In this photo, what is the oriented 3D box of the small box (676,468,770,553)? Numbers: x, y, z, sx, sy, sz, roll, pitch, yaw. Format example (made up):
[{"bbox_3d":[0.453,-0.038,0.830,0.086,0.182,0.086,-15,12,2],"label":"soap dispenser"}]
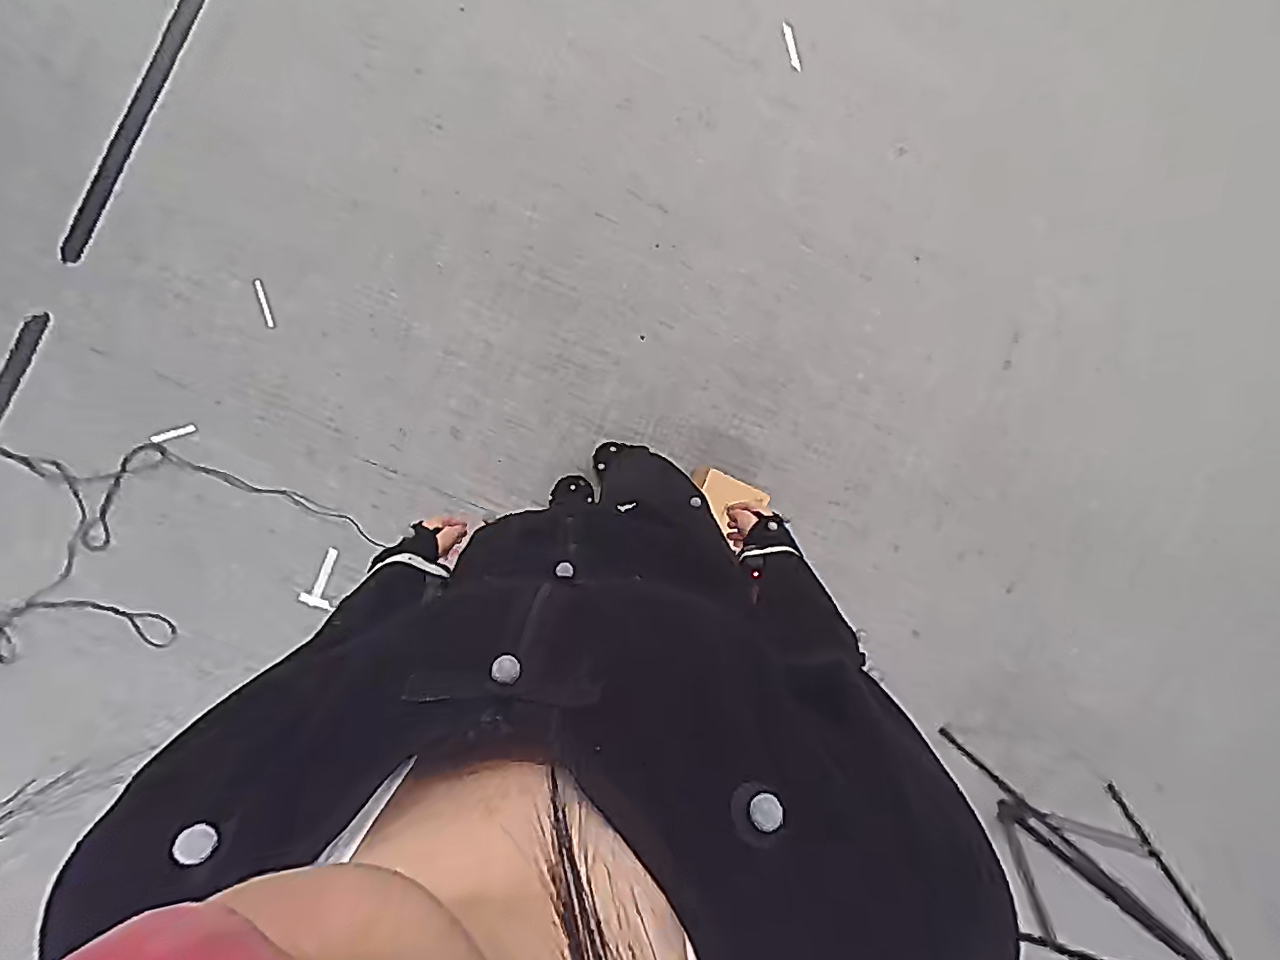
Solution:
[{"bbox_3d":[0.212,0.079,1.446,0.179,0.176,0.168,26,89,-6],"label":"small box"}]
